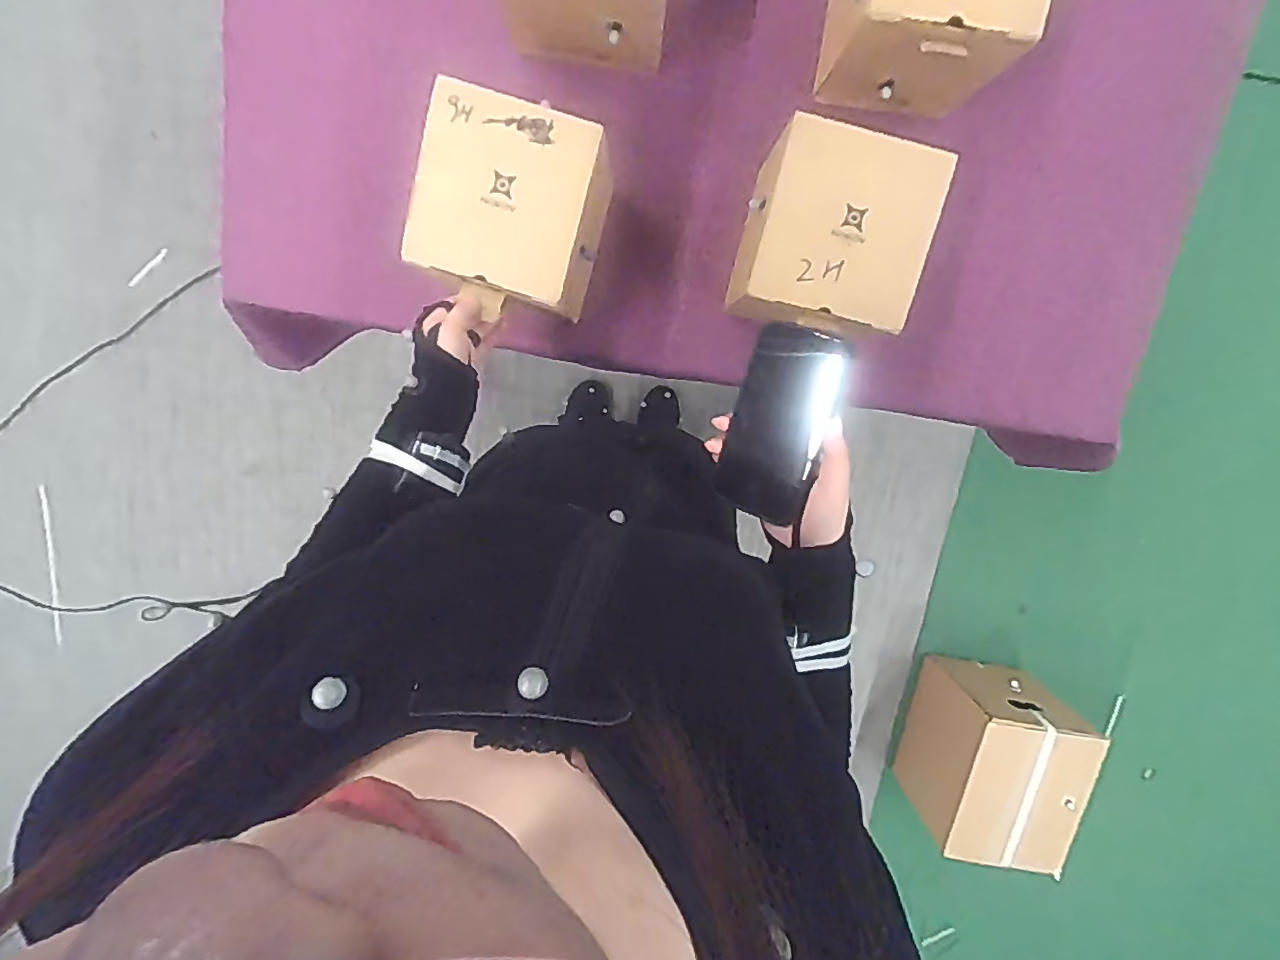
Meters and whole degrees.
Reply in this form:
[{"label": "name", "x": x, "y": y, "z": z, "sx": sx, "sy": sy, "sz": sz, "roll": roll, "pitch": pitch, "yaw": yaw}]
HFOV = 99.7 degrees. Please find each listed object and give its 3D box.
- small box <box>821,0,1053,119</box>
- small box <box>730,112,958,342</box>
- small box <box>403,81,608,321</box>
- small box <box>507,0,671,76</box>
[{"label": "small box", "x": 0.303, "y": -0.515, "z": 0.559, "sx": 0.168, "sy": 0.176, "sz": 0.179, "roll": 7, "pitch": 103, "yaw": -1}, {"label": "small box", "x": 0.209, "y": -0.264, "z": 0.611, "sx": 0.168, "sy": 0.176, "sz": 0.179, "roll": 14, "pitch": 101, "yaw": -2}, {"label": "small box", "x": -0.136, "y": -0.289, "z": 0.607, "sx": 0.168, "sy": 0.176, "sz": 0.179, "roll": 16, "pitch": 100, "yaw": -3}, {"label": "small box", "x": -0.044, "y": -0.559, "z": 0.553, "sx": 0.168, "sy": 0.176, "sz": 0.179, "roll": 9, "pitch": 102, "yaw": -3}]
